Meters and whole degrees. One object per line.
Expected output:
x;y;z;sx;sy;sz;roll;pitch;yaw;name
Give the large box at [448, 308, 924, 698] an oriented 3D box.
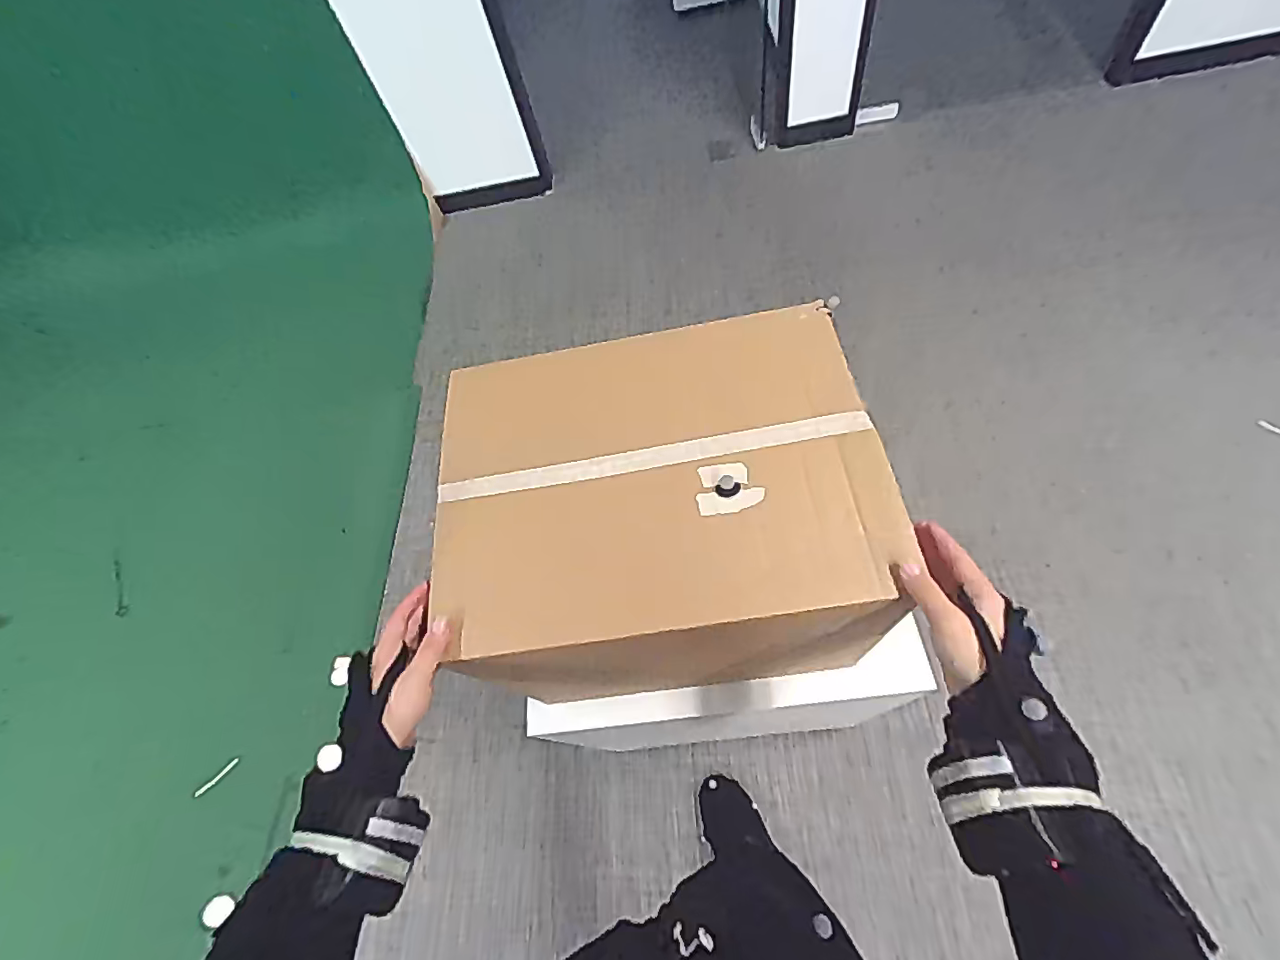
0.034;0.052;0.641;0.408;0.320;0.320;-9;61;4;large box
